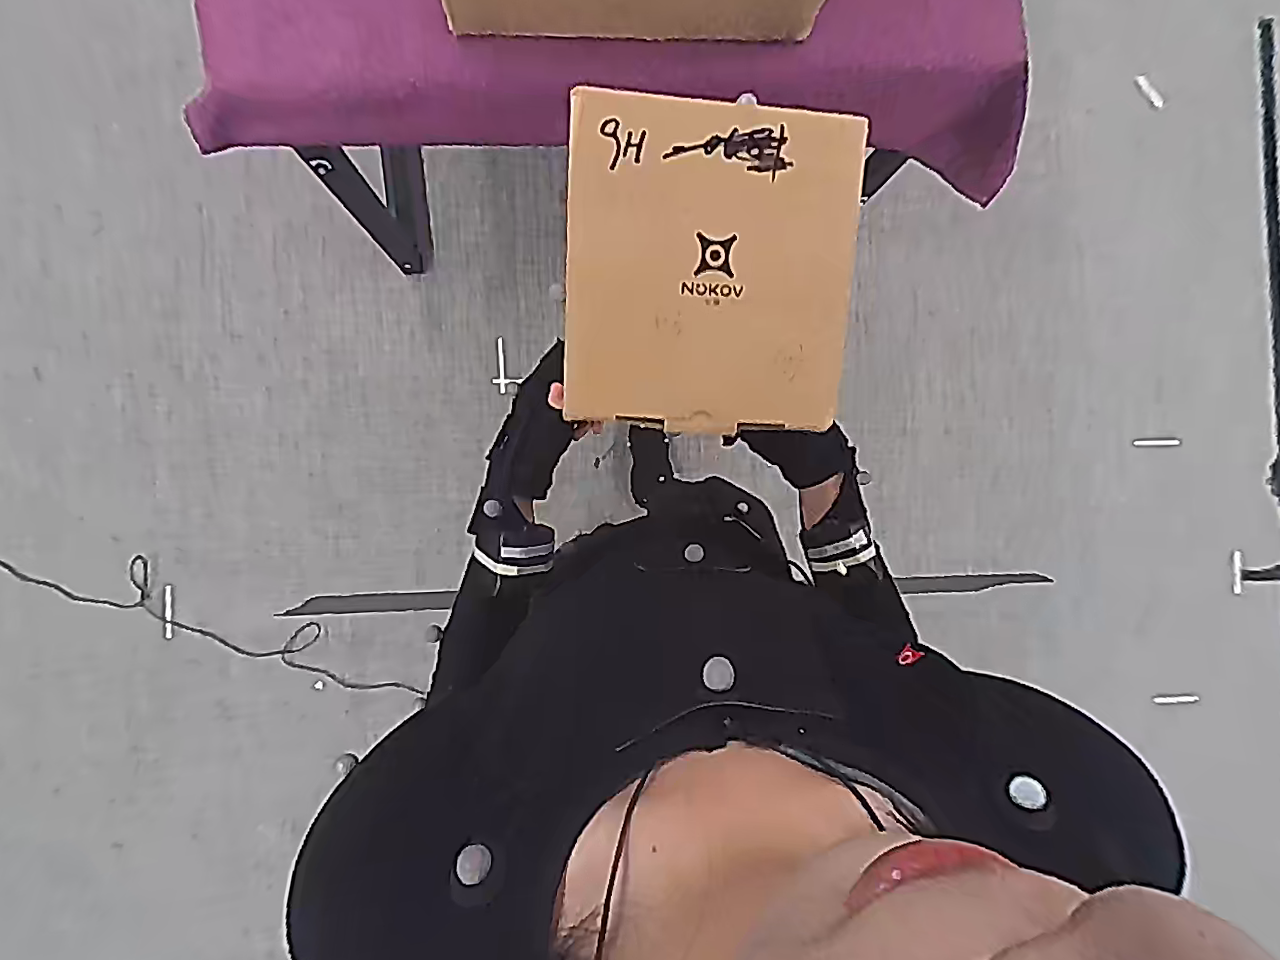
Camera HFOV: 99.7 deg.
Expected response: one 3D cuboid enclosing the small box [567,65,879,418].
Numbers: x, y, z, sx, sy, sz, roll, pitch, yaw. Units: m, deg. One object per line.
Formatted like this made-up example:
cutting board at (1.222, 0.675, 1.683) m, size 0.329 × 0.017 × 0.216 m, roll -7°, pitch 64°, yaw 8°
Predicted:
small box at (0.037, -0.141, 0.379) m, size 0.168 × 0.176 × 0.179 m, roll 1°, pitch 101°, yaw -7°
